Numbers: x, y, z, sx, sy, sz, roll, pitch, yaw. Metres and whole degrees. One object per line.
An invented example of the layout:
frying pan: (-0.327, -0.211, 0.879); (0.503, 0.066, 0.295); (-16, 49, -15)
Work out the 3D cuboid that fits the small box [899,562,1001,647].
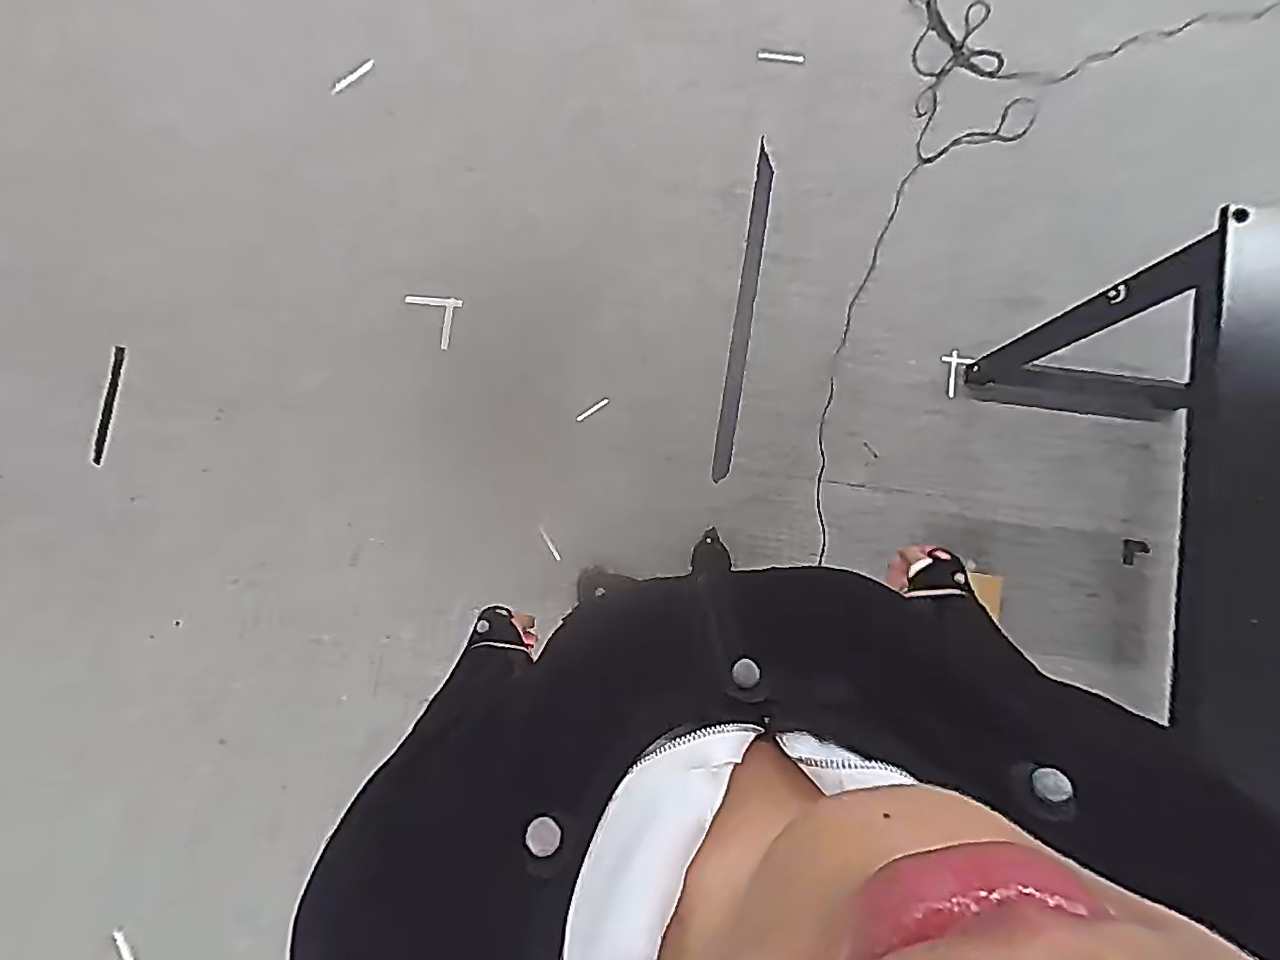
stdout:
small box: (0.782, 0.311, 1.381); (0.168, 0.176, 0.179); (8, 84, 3)
